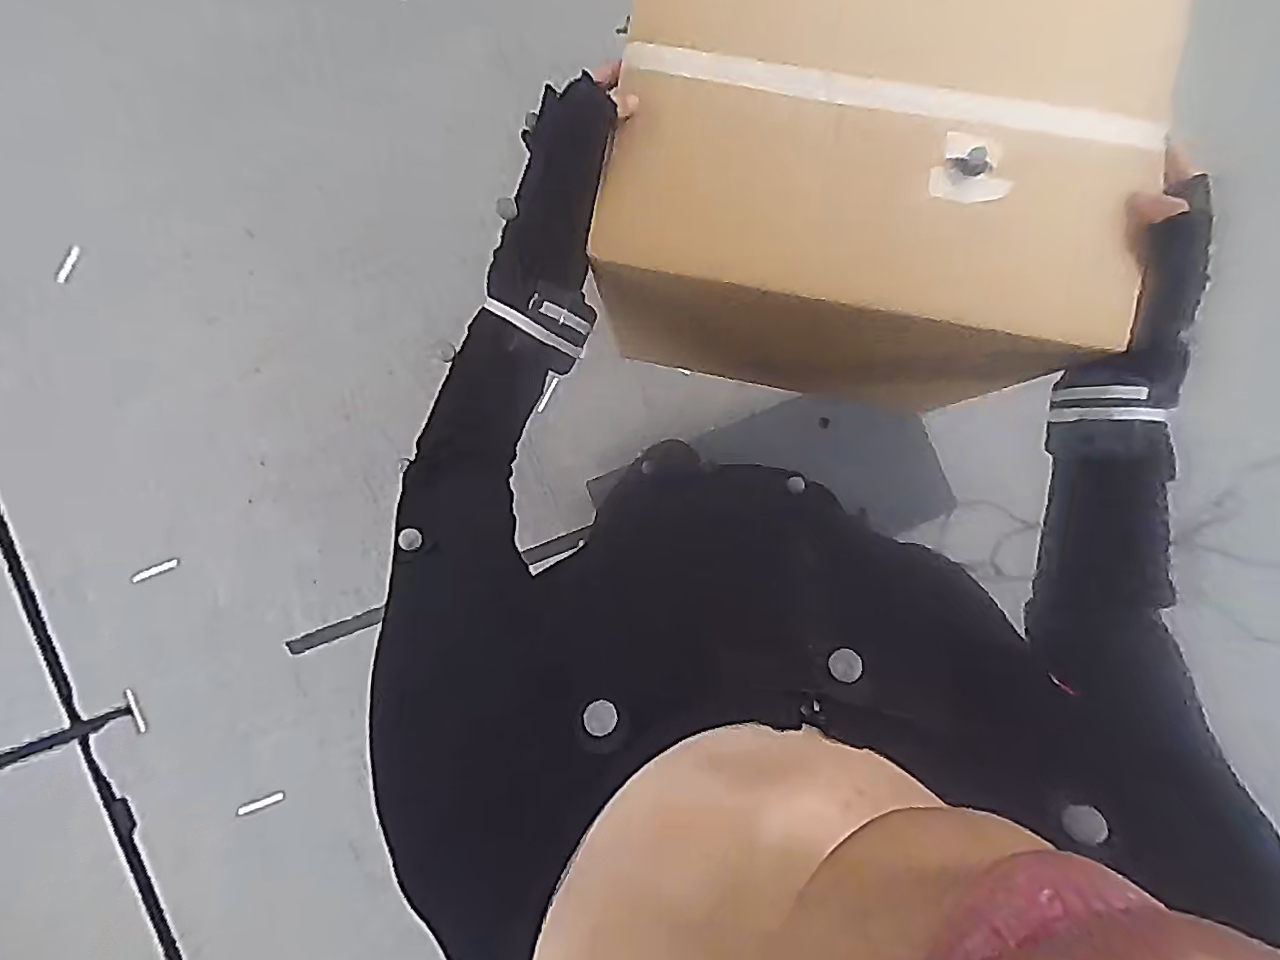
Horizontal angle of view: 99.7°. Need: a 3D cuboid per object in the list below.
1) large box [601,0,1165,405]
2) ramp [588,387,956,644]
[{"bbox_3d":[0.193,-0.287,0.571,0.408,0.320,0.320,12,89,2],"label":"large box"},{"bbox_3d":[0.398,0.038,1.555,0.991,0.206,0.509,-25,88,2],"label":"ramp"}]
